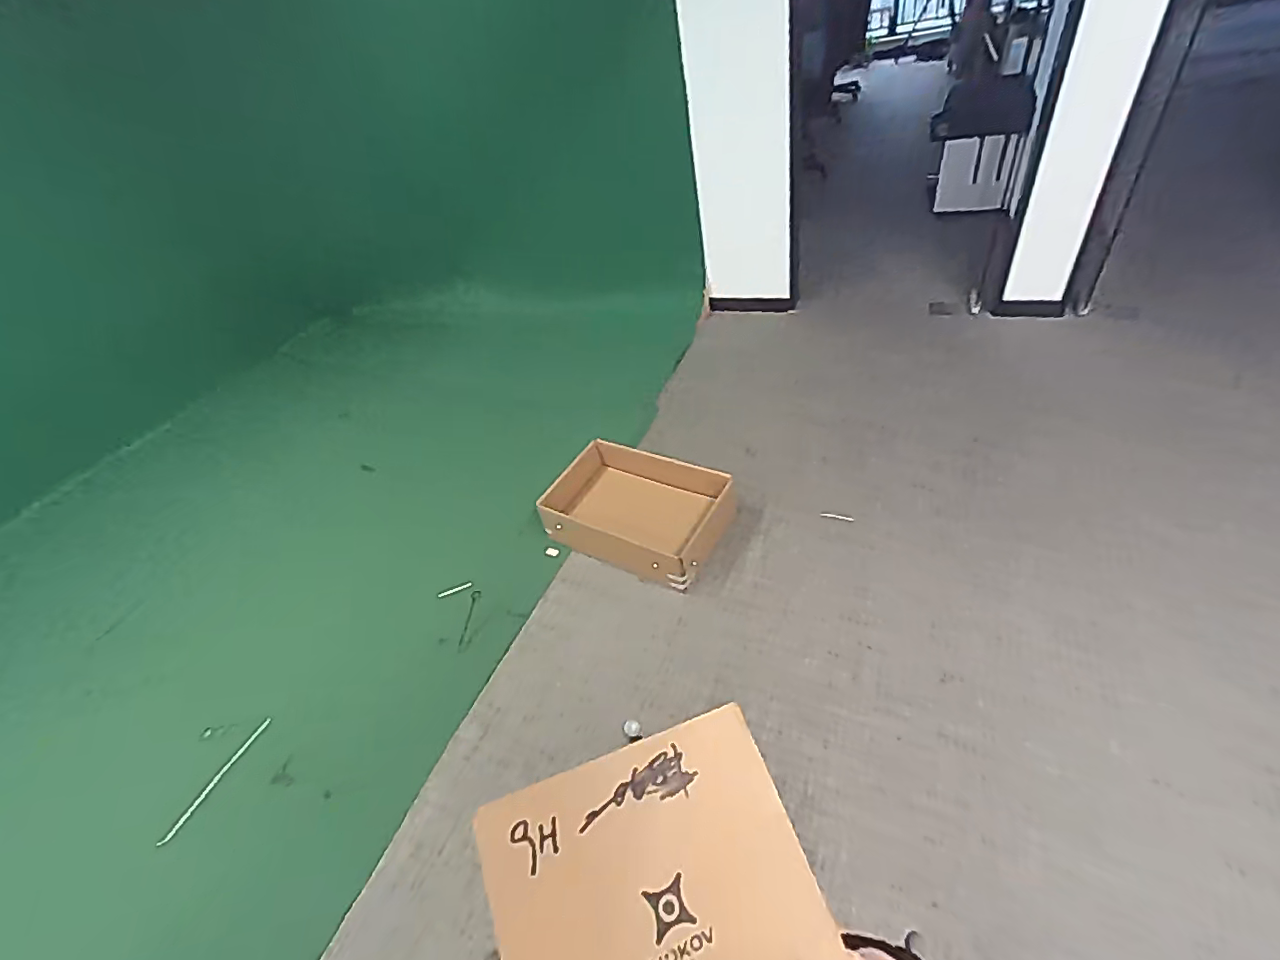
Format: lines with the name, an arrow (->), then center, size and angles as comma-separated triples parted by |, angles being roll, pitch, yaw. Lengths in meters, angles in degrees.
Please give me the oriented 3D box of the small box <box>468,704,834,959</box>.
small box -> -0.004, 0.267, 0.345 | 0.168, 0.176, 0.179 | -12, 62, -20
